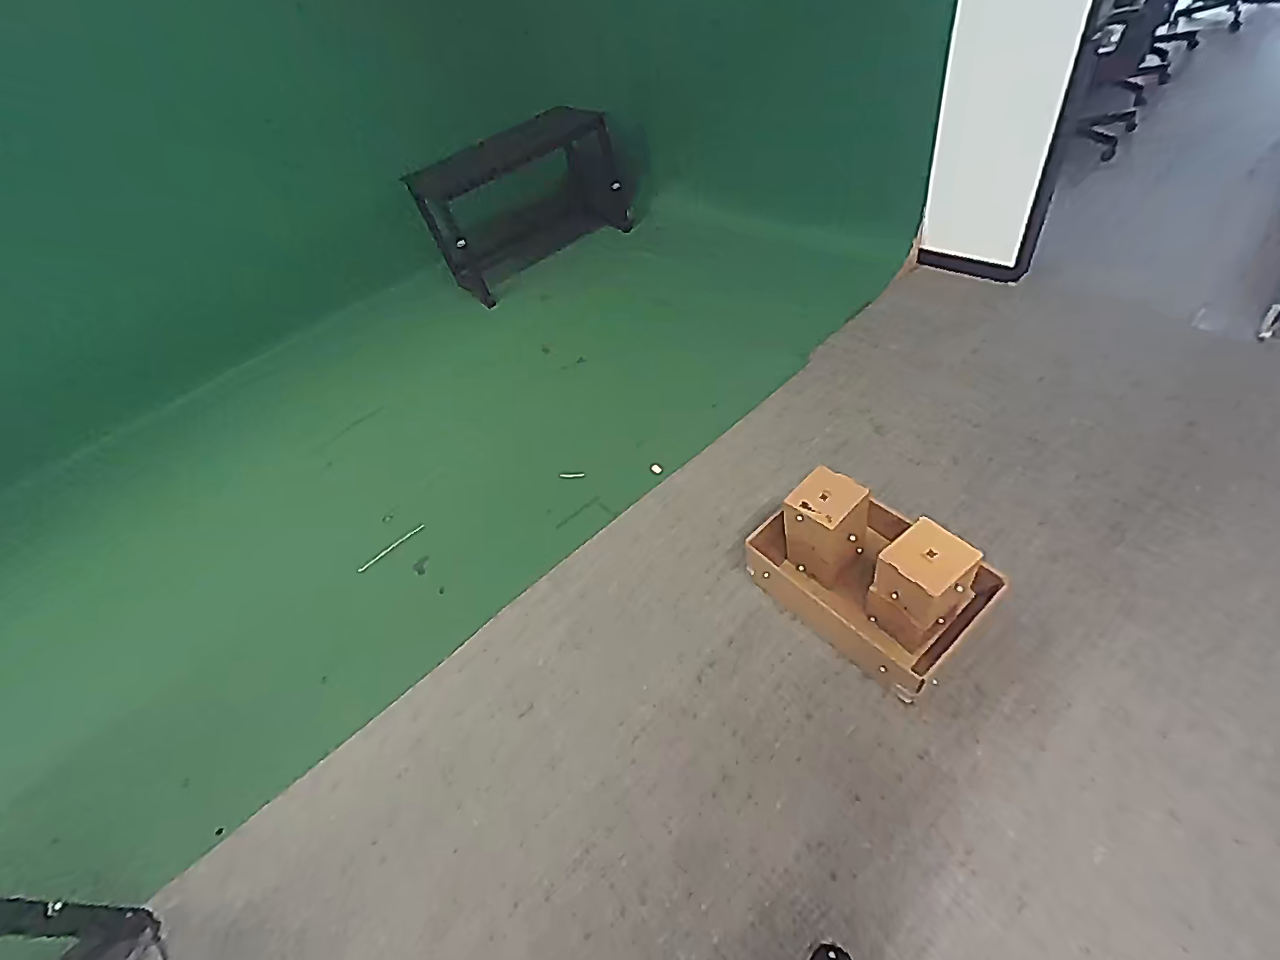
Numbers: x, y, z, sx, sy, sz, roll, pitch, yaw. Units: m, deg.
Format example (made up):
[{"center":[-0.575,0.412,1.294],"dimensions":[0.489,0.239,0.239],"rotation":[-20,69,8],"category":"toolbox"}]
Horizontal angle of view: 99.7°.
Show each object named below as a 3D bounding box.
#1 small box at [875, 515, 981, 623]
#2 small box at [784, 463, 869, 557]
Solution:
[{"center":[0.729,0.231,1.393],"dimensions":[0.179,0.176,0.168],"rotation":[-35,50,-13],"category":"small box"},{"center":[0.536,0.088,1.573],"dimensions":[0.179,0.176,0.168],"rotation":[-39,49,-19],"category":"small box"}]
